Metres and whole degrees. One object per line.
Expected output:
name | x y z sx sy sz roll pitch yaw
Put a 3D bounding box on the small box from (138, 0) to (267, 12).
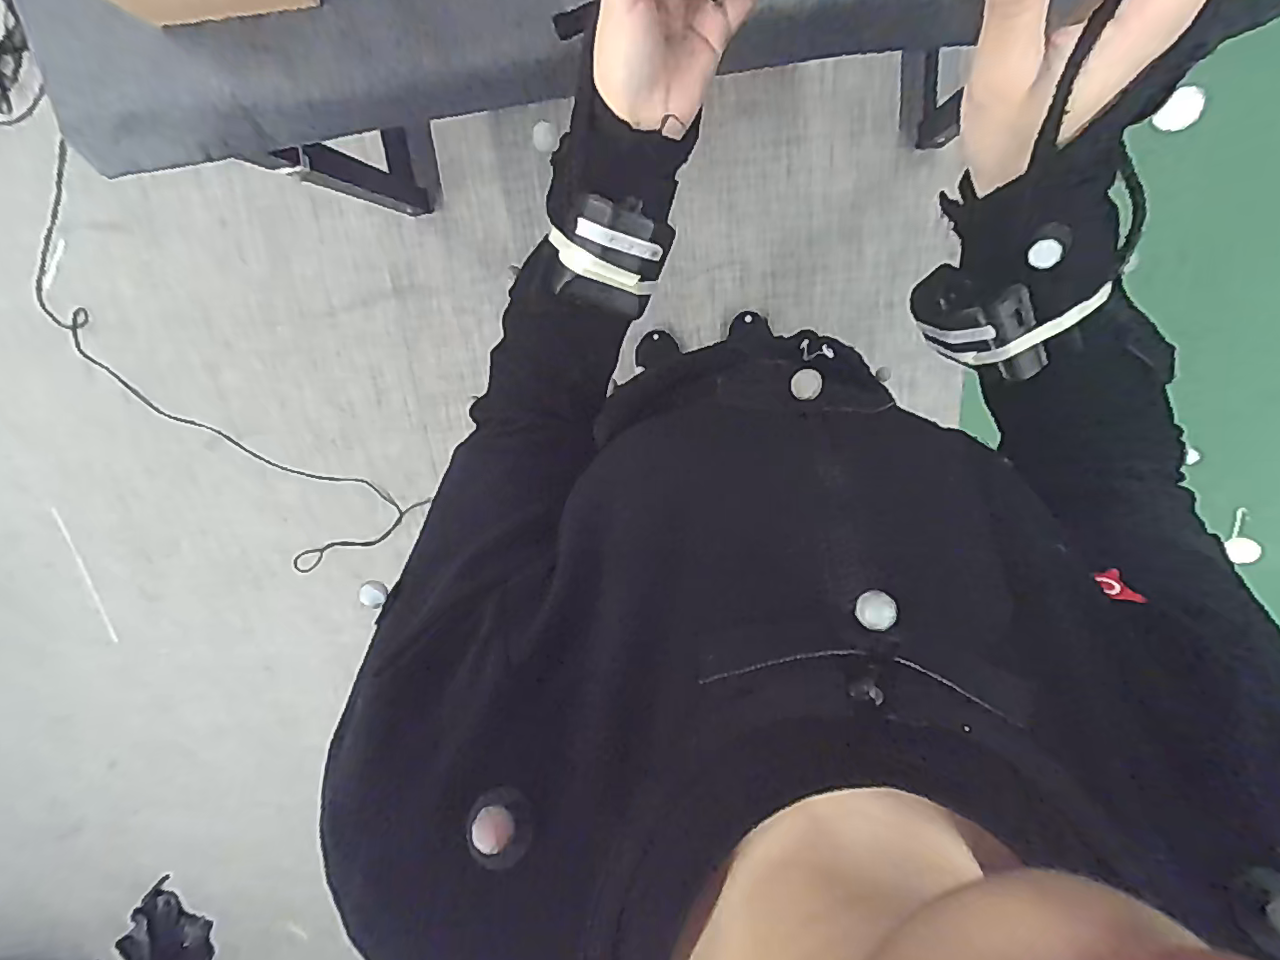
small box | -0.398 -0.510 0.419 0.179 0.176 0.168 -2 106 6
